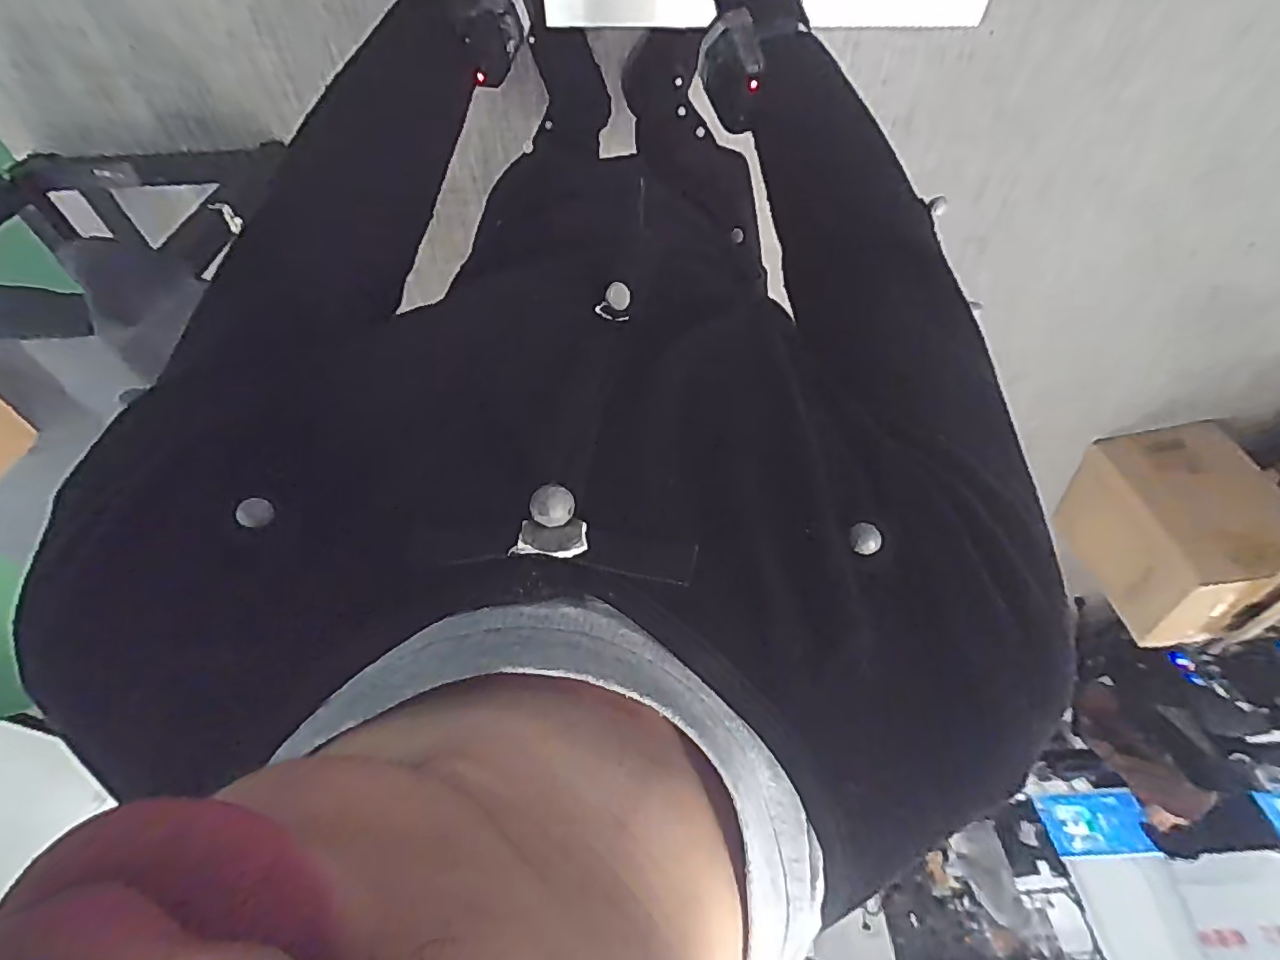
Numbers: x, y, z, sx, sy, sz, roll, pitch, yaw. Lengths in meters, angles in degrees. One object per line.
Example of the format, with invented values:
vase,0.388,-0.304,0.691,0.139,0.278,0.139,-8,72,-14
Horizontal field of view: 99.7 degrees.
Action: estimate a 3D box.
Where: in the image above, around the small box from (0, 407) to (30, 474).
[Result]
small box,-1.046,-0.063,0.749,0.168,0.176,0.179,0,142,-5
